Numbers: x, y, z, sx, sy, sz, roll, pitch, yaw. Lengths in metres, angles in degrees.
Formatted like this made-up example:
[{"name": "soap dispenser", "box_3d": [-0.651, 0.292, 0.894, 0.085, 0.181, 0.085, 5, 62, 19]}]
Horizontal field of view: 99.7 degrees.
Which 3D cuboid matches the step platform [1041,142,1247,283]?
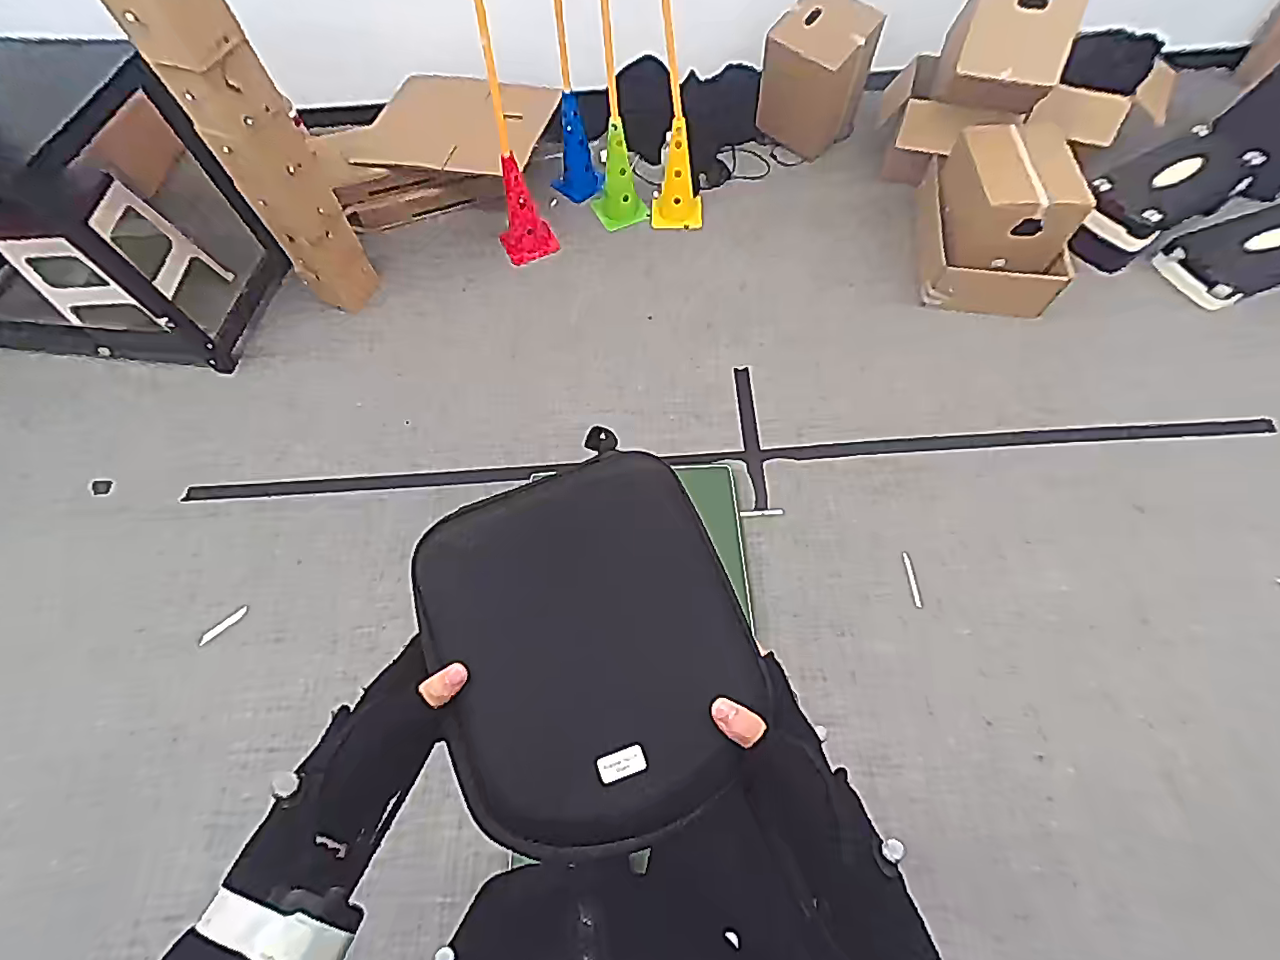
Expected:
[{"name": "step platform", "box_3d": [1.875, -1.004, 2.016, 0.684, 0.204, 0.286, -29, 66, -12]}]
